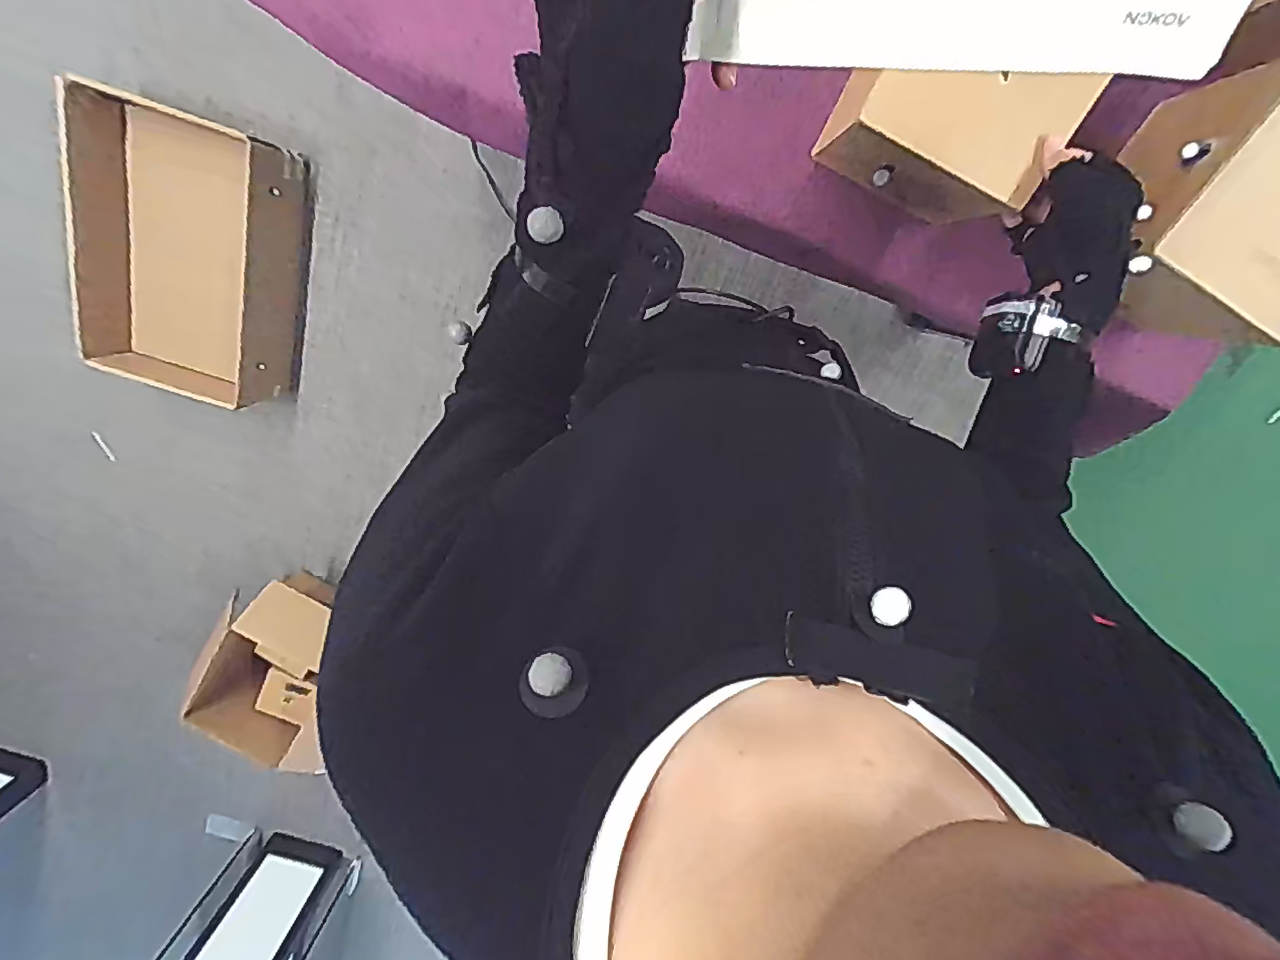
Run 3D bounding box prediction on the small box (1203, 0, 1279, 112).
[{"bbox_3d":[0.652,-0.439,0.441,0.168,0.176,0.179,27,110,-6],"label":"small box"}]
